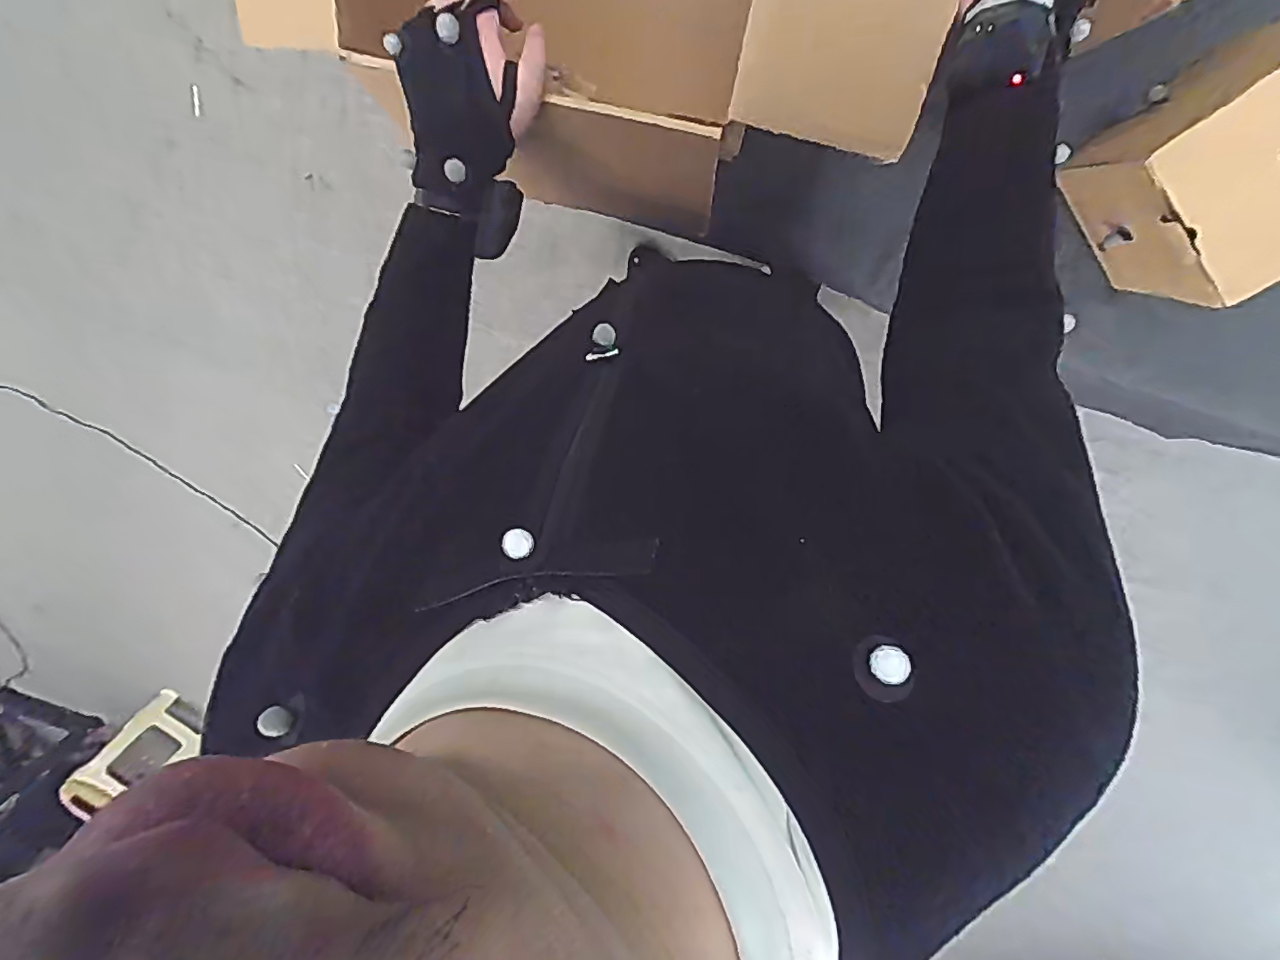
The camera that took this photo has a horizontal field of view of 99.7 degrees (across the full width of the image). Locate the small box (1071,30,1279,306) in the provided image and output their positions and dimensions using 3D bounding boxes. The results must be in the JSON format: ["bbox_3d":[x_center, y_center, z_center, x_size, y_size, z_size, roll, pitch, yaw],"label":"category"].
[{"bbox_3d":[0.569,-0.299,0.525,0.179,0.176,0.168,-34,105,25],"label":"small box"}]
